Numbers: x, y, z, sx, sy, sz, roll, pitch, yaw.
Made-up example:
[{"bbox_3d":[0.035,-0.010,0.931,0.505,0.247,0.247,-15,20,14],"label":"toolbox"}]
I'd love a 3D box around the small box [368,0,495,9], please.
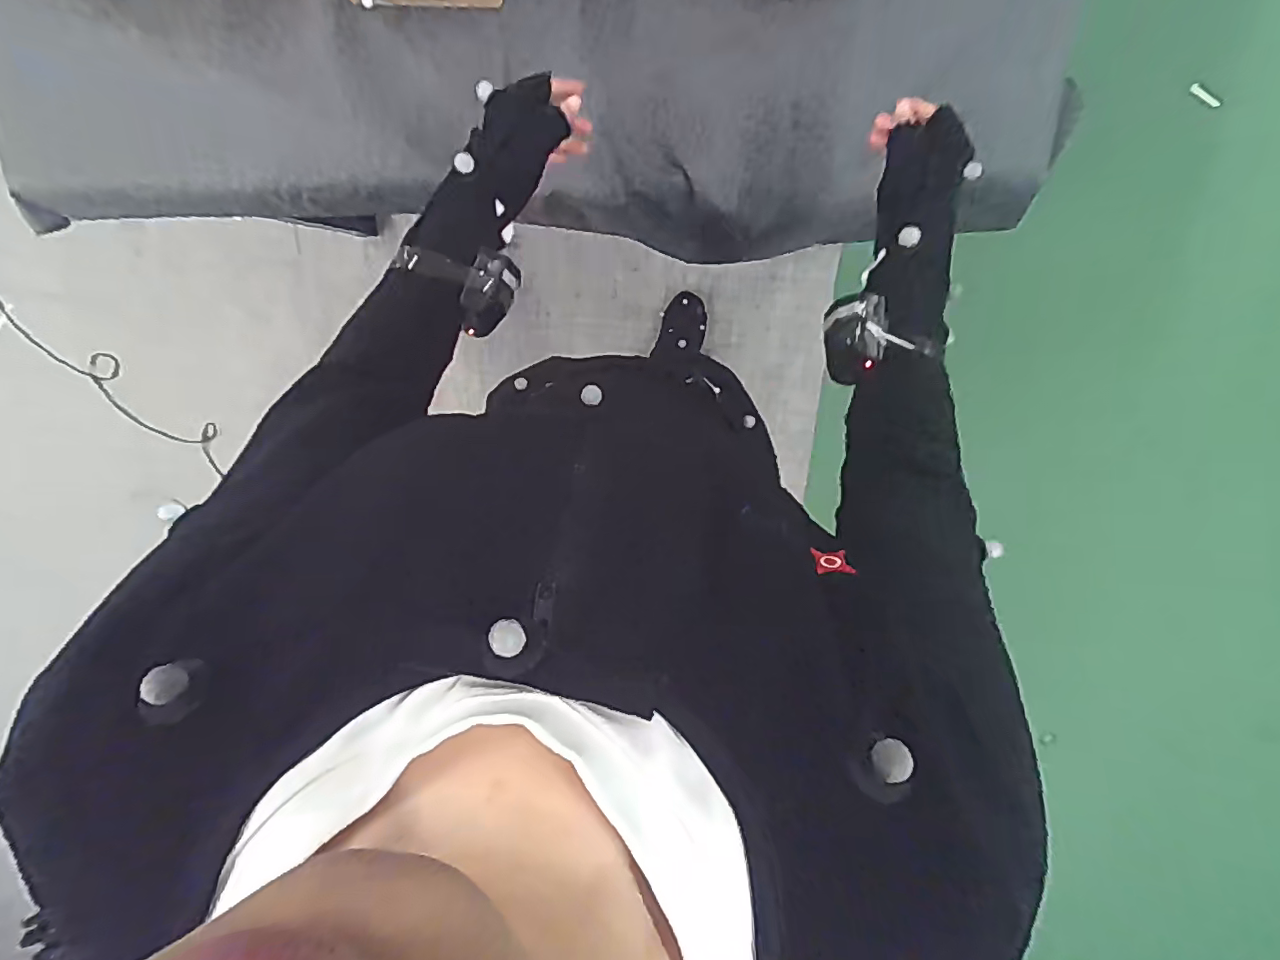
[{"bbox_3d":[-0.230,-0.560,0.478,0.168,0.176,0.179,4,107,4],"label":"small box"}]
